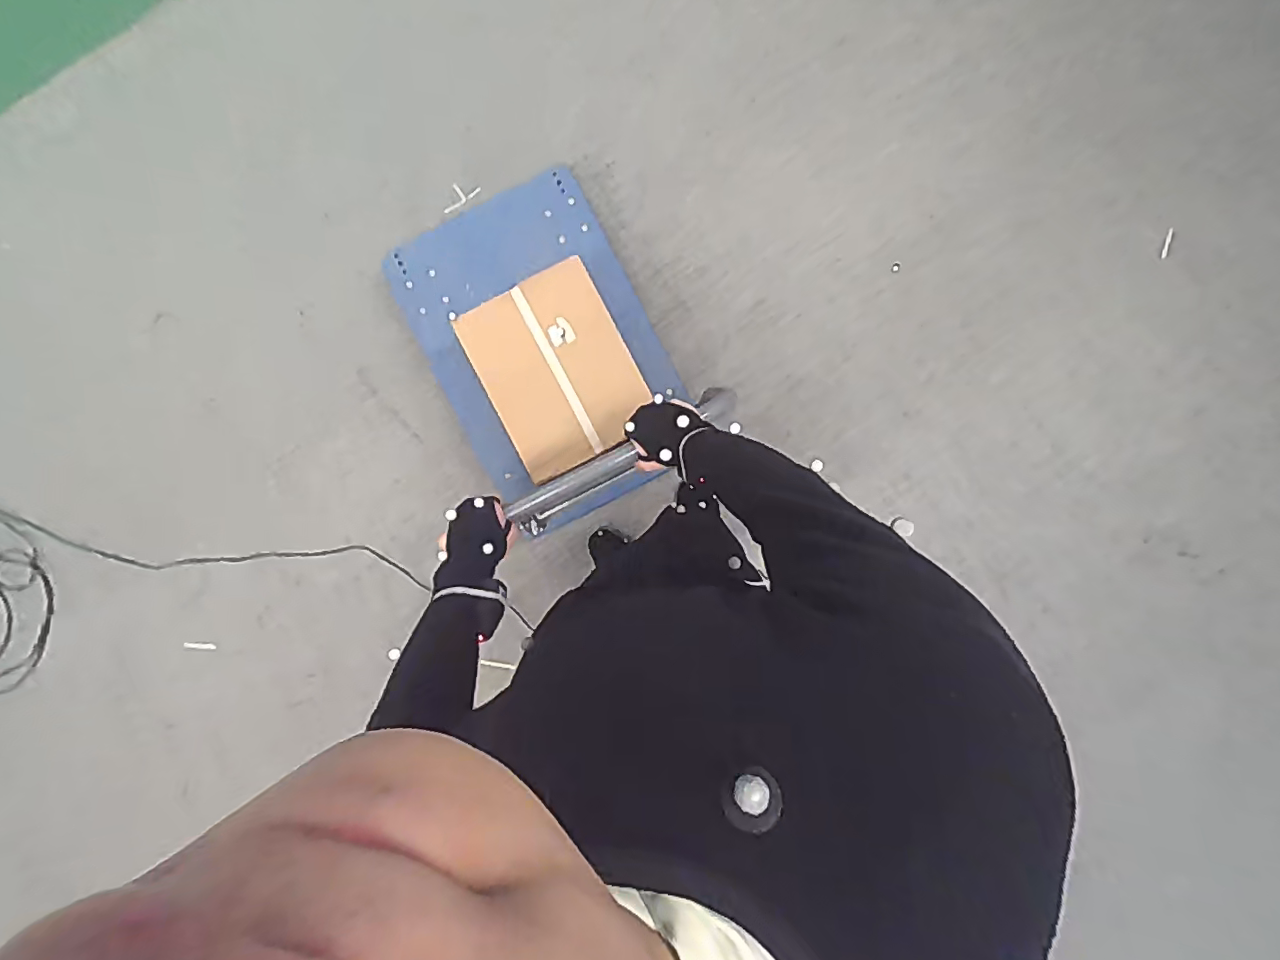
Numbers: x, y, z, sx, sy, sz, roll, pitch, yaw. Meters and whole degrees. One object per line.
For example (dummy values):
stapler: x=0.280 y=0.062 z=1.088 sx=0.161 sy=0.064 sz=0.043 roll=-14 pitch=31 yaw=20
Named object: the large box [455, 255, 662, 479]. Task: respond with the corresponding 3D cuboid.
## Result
large box: x=-0.174 y=-0.245 z=1.317 sx=0.320 sy=0.320 sz=0.408 roll=-27 pitch=89 yaw=0
